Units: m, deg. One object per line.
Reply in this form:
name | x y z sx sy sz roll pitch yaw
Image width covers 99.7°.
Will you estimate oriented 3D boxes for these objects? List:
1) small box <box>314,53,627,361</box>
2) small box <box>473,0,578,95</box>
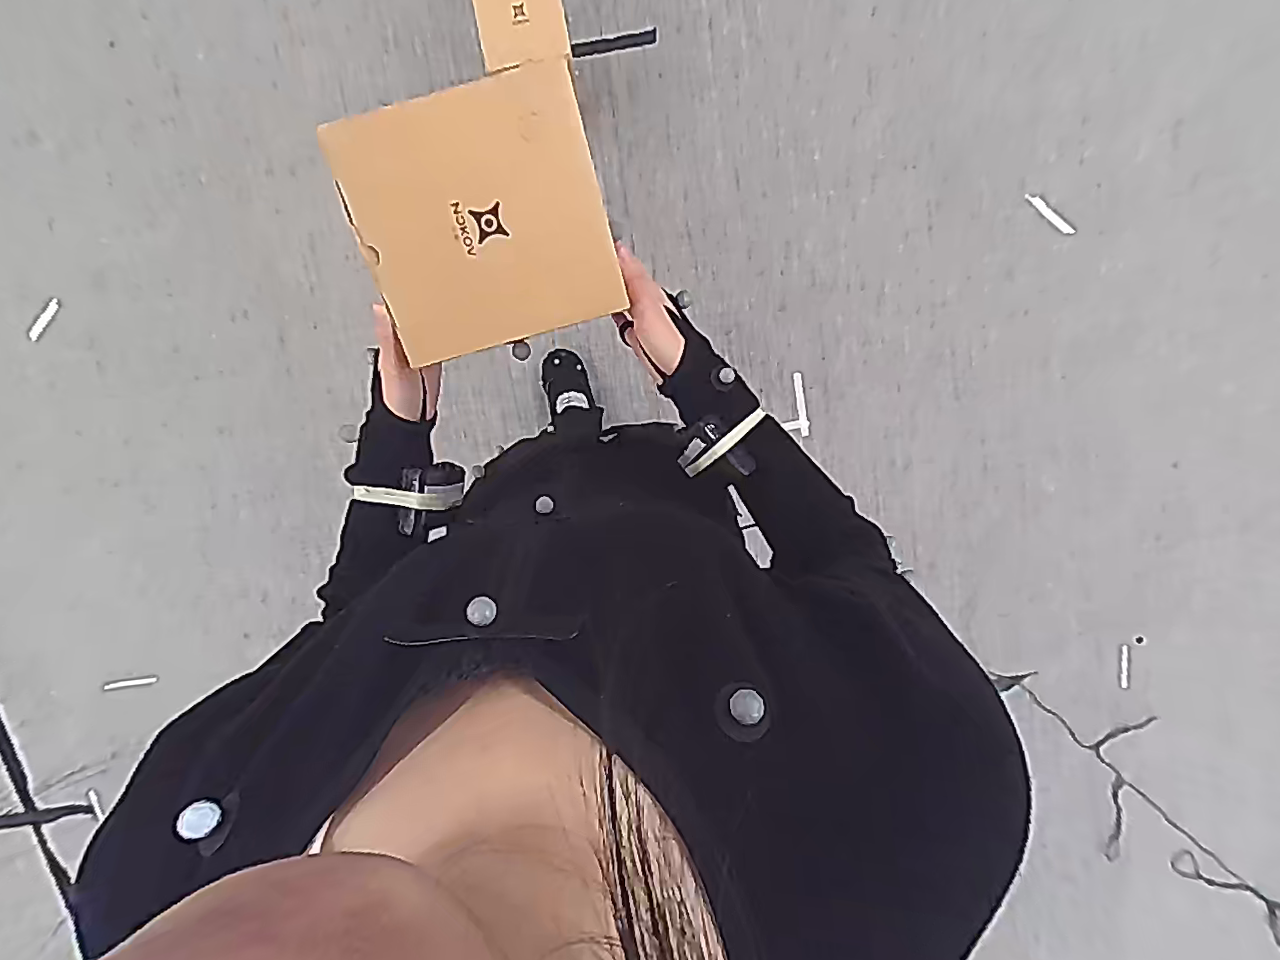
small box | -0.119 -0.212 0.456 0.179 0.176 0.168 -16 110 1
small box | -0.225 -0.881 1.087 0.168 0.176 0.179 -12 99 0
